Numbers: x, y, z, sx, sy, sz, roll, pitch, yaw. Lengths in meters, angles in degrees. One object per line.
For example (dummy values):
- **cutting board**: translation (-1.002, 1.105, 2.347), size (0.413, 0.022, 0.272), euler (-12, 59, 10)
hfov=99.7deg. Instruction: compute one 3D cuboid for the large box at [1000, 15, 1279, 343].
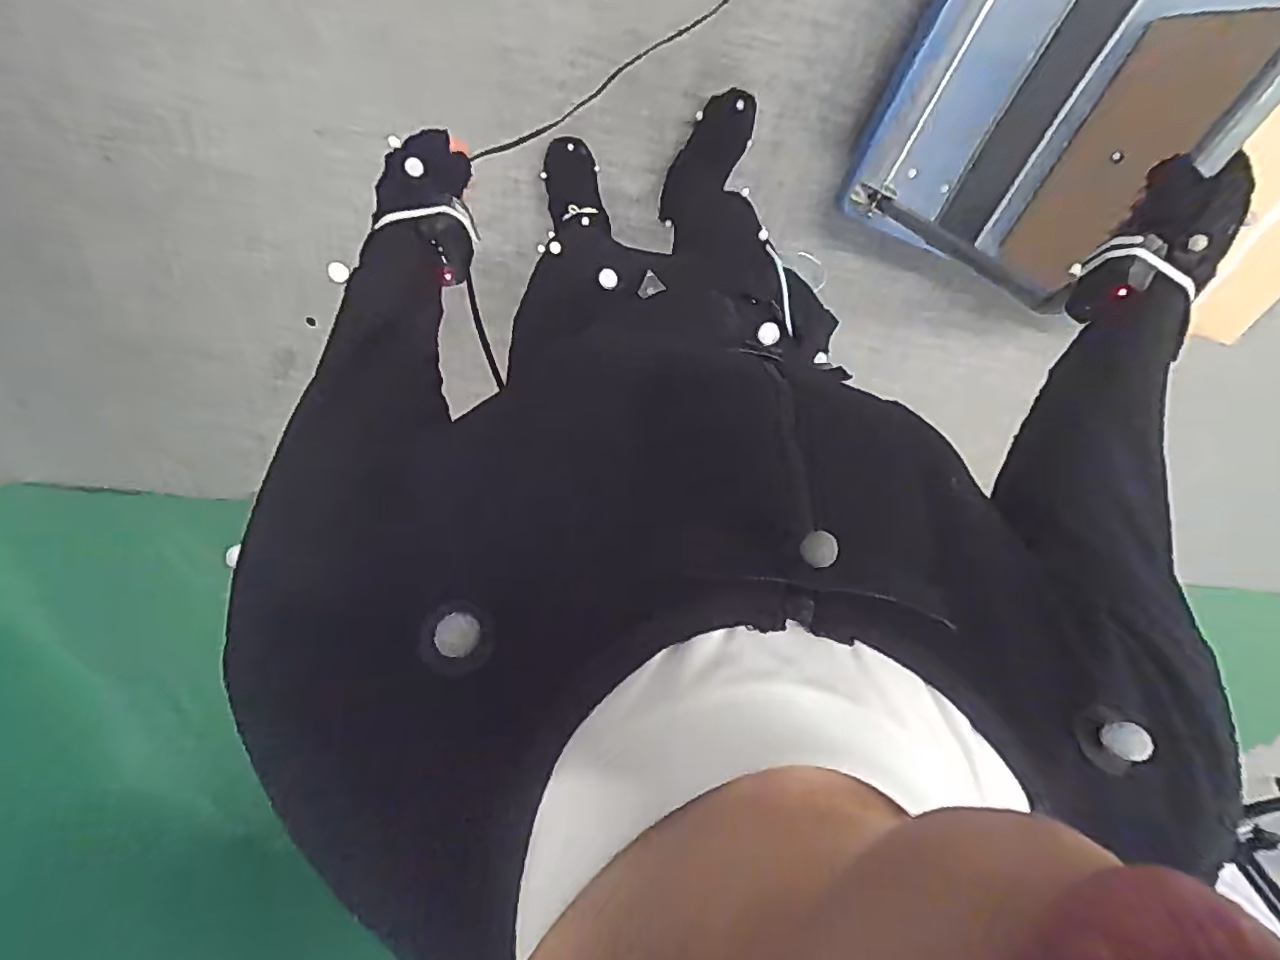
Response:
- **large box**: translation (0.970, -0.517, 0.964), size (0.320, 0.320, 0.408), euler (11, 126, -12)
